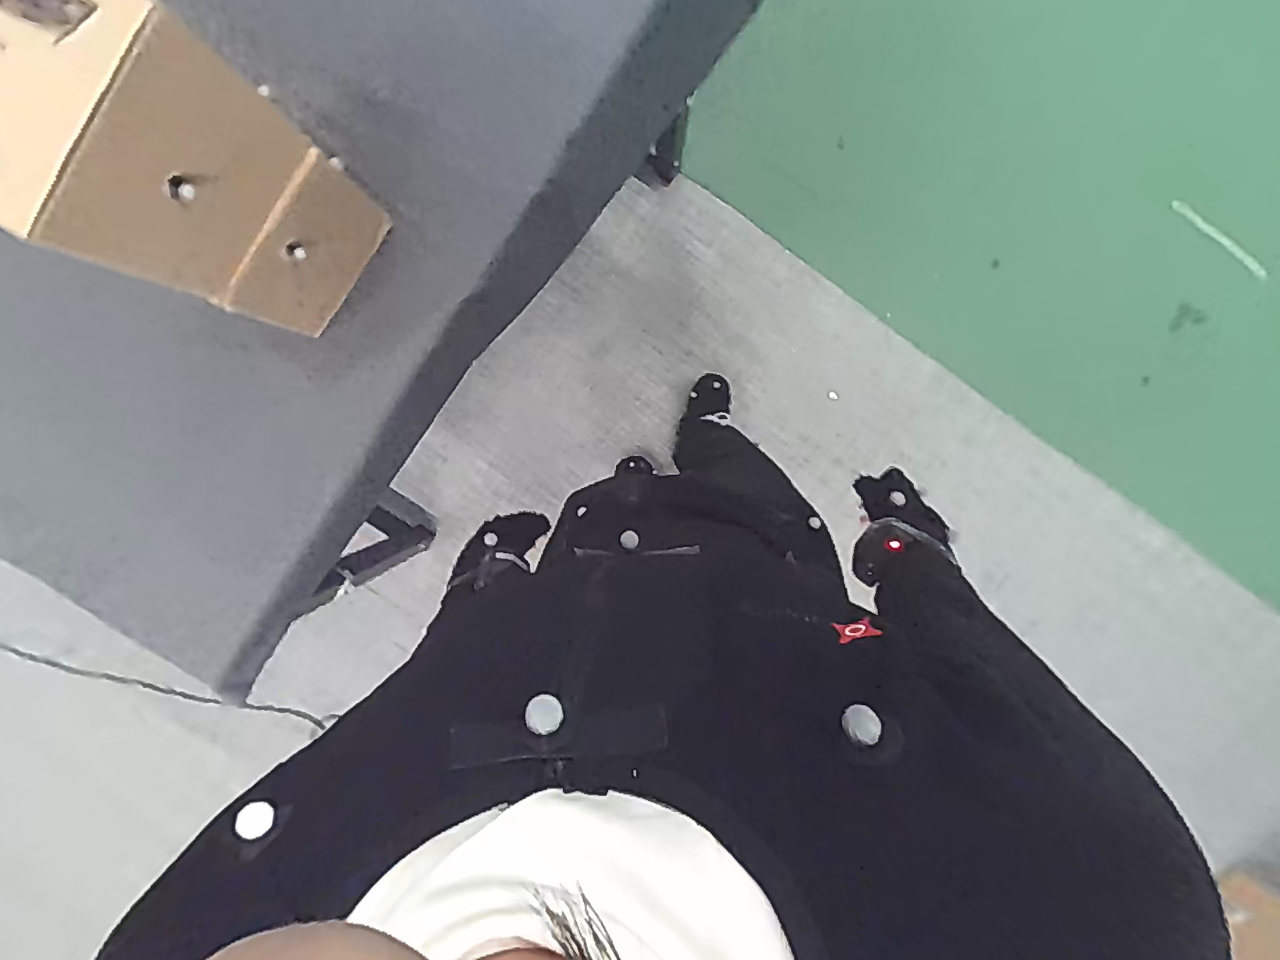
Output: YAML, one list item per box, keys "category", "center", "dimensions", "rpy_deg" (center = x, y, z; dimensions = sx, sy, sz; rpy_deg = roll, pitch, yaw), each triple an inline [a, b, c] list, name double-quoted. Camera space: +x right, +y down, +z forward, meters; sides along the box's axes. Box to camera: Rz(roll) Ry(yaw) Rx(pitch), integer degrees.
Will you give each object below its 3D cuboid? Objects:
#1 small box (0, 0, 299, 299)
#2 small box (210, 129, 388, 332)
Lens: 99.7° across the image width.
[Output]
- category: "small box"
  center: [-0.414, -0.274, 0.424]
  dimensions: [0.168, 0.176, 0.179]
  rpy_deg: [33, 95, -4]
- category: "small box"
  center: [-0.413, -0.286, 0.588]
  dimensions: [0.168, 0.176, 0.179]
  rpy_deg: [34, 93, -4]
